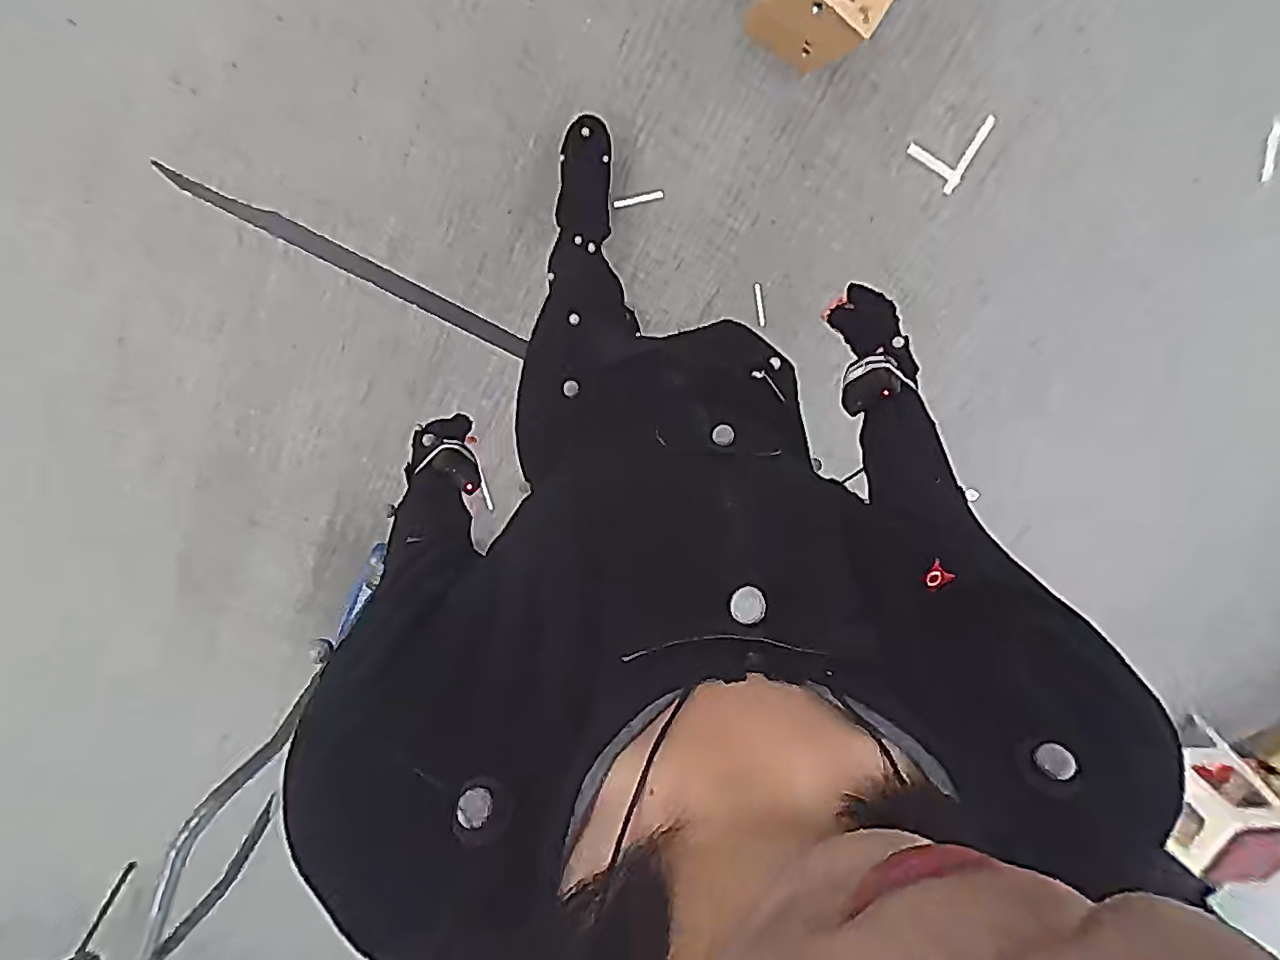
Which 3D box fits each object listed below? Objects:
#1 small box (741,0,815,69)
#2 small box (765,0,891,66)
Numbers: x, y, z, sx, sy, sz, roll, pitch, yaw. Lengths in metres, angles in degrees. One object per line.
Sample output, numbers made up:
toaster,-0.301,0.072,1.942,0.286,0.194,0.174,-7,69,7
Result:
small box,0.330,-0.960,1.077,0.179,0.176,0.168,21,111,-14
small box,0.345,-0.876,0.937,0.168,0.176,0.179,28,108,-17
